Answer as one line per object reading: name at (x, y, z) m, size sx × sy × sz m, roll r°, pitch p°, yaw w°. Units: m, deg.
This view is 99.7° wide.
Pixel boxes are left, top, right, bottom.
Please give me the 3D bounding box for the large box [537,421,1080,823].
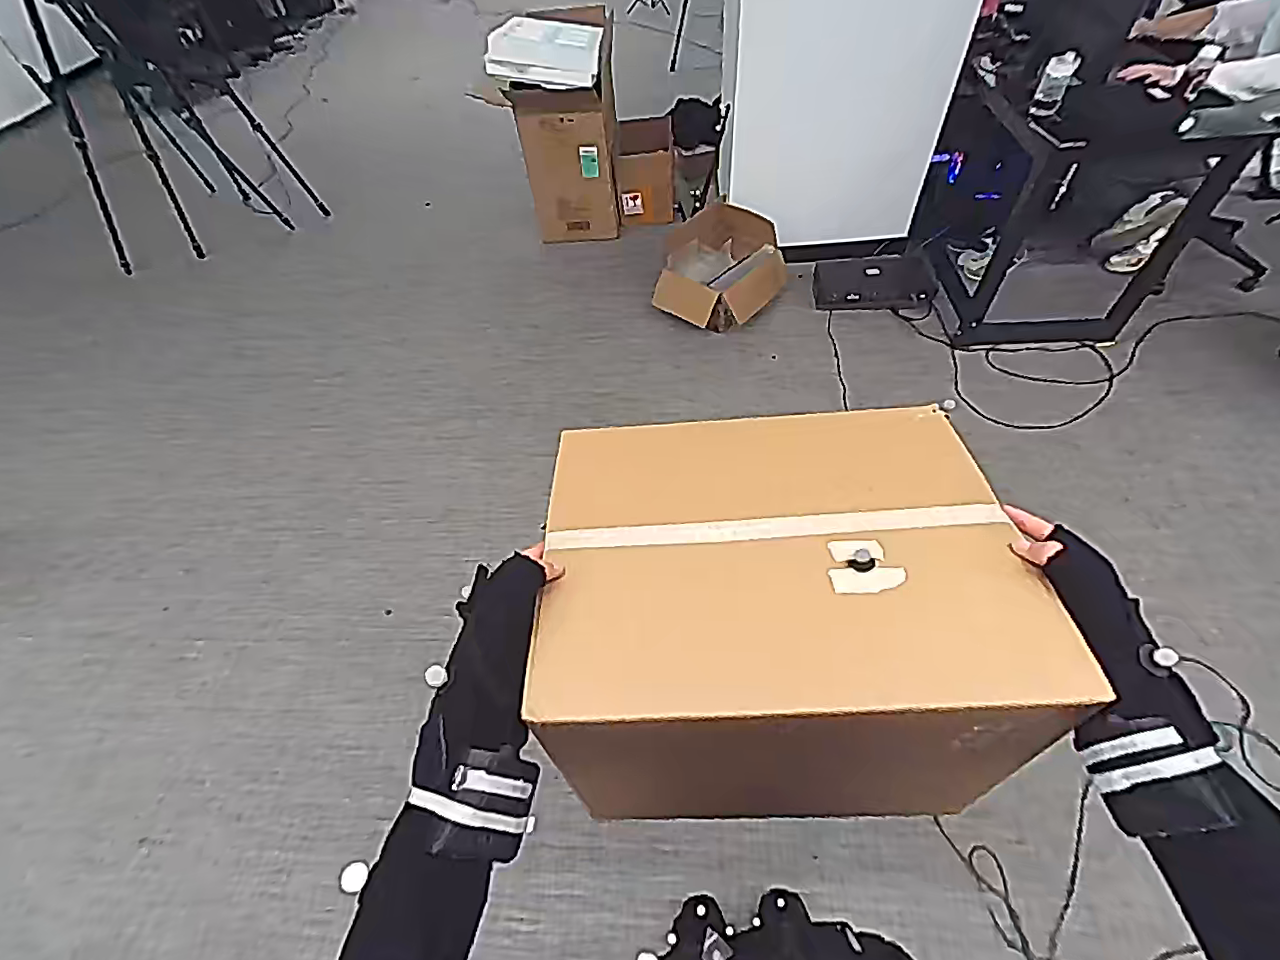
large box at (0.128, 0.162, 0.602) m, size 0.408 × 0.320 × 0.320 m, roll -4°, pitch 46°, yaw 4°
